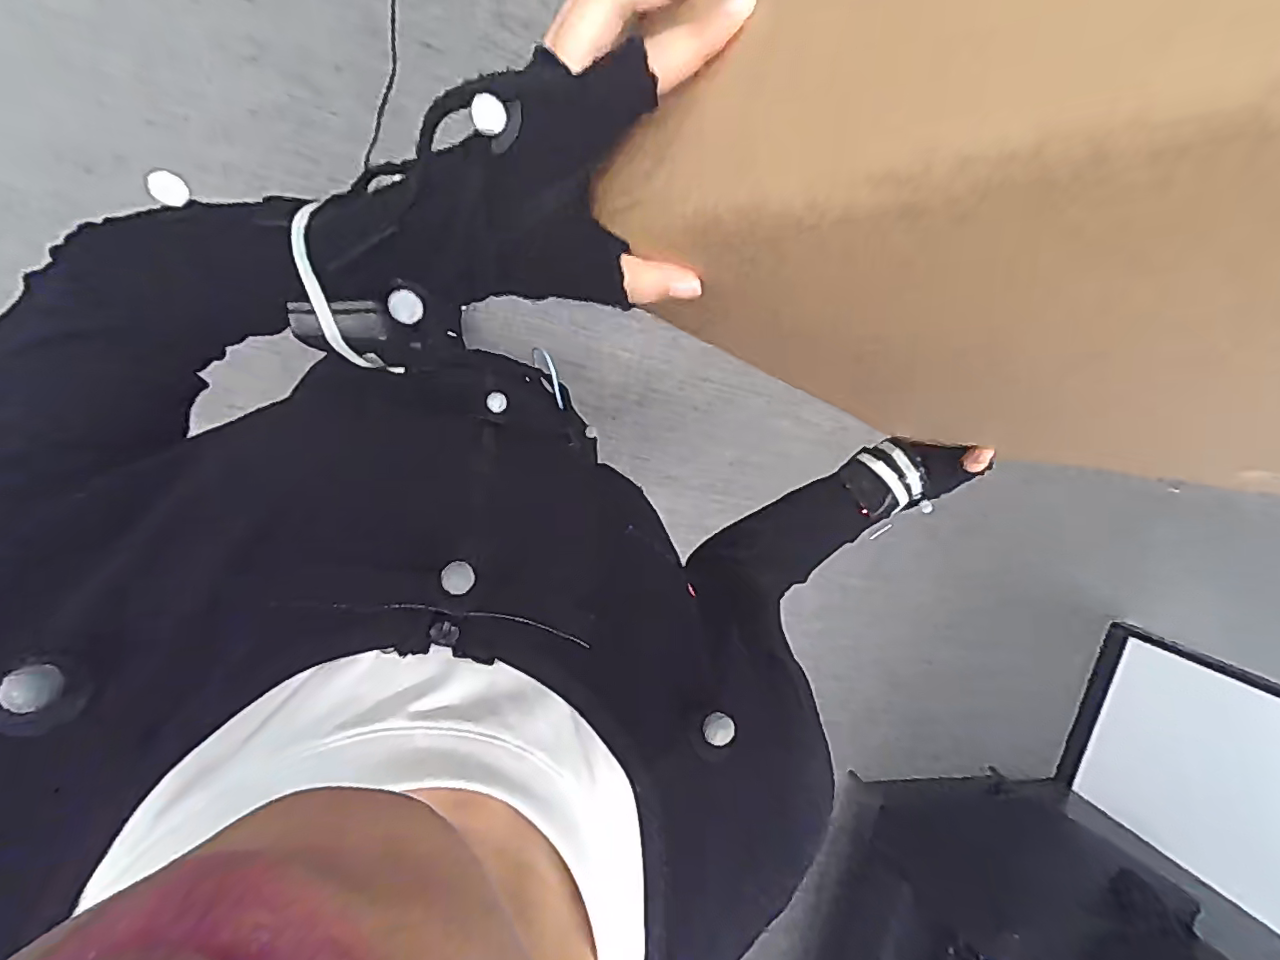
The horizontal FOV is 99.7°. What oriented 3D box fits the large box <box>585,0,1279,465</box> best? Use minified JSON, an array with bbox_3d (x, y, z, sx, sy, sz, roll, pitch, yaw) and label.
[{"bbox_3d":[0.240,-0.202,0.278,0.408,0.320,0.320,13,94,-40],"label":"large box"}]
